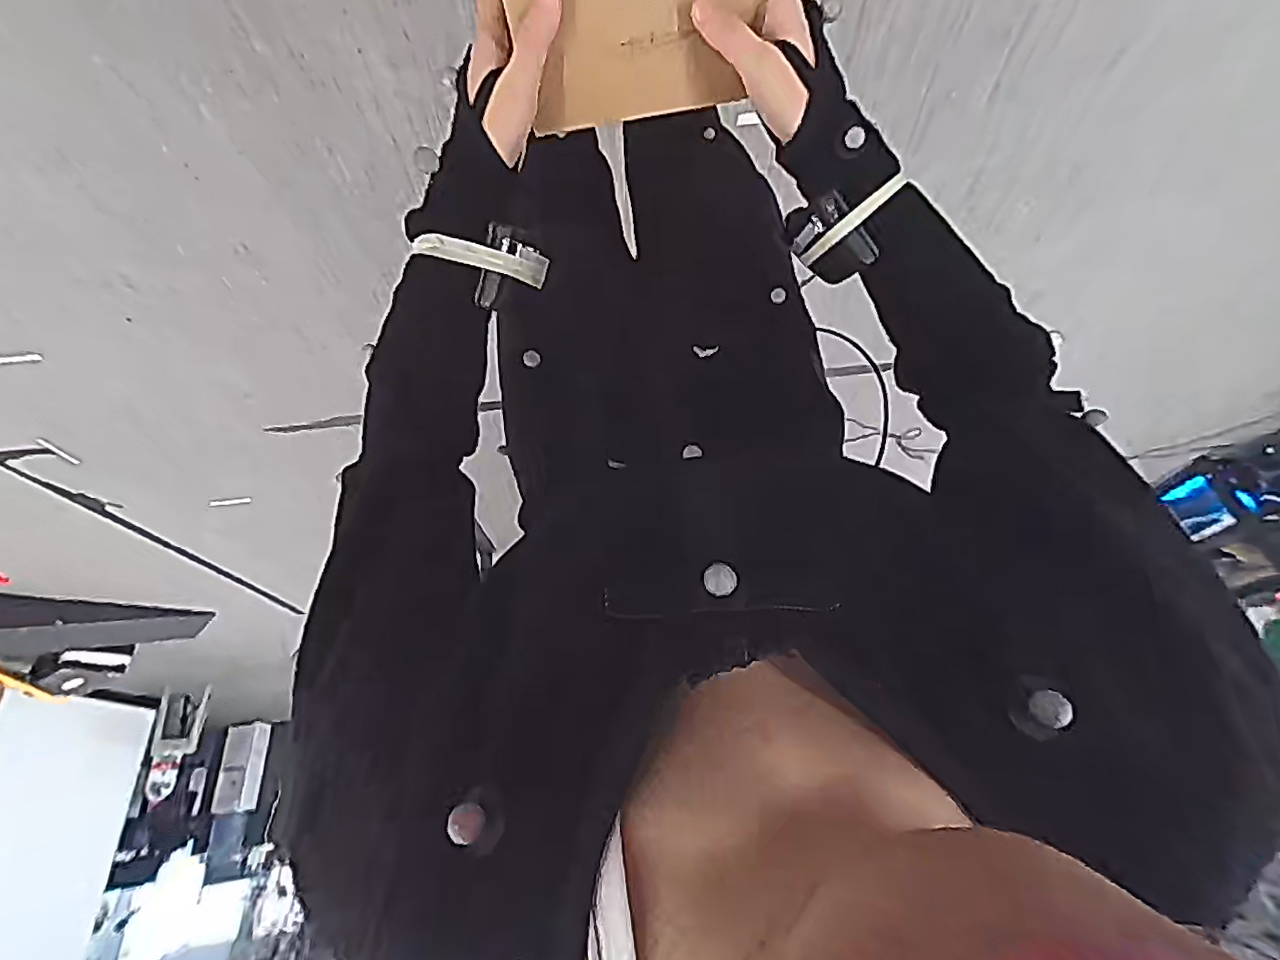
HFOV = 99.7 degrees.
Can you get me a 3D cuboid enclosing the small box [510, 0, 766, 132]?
[{"bbox_3d":[-0.015,-0.380,0.368,0.168,0.176,0.179,-11,146,1],"label":"small box"}]
